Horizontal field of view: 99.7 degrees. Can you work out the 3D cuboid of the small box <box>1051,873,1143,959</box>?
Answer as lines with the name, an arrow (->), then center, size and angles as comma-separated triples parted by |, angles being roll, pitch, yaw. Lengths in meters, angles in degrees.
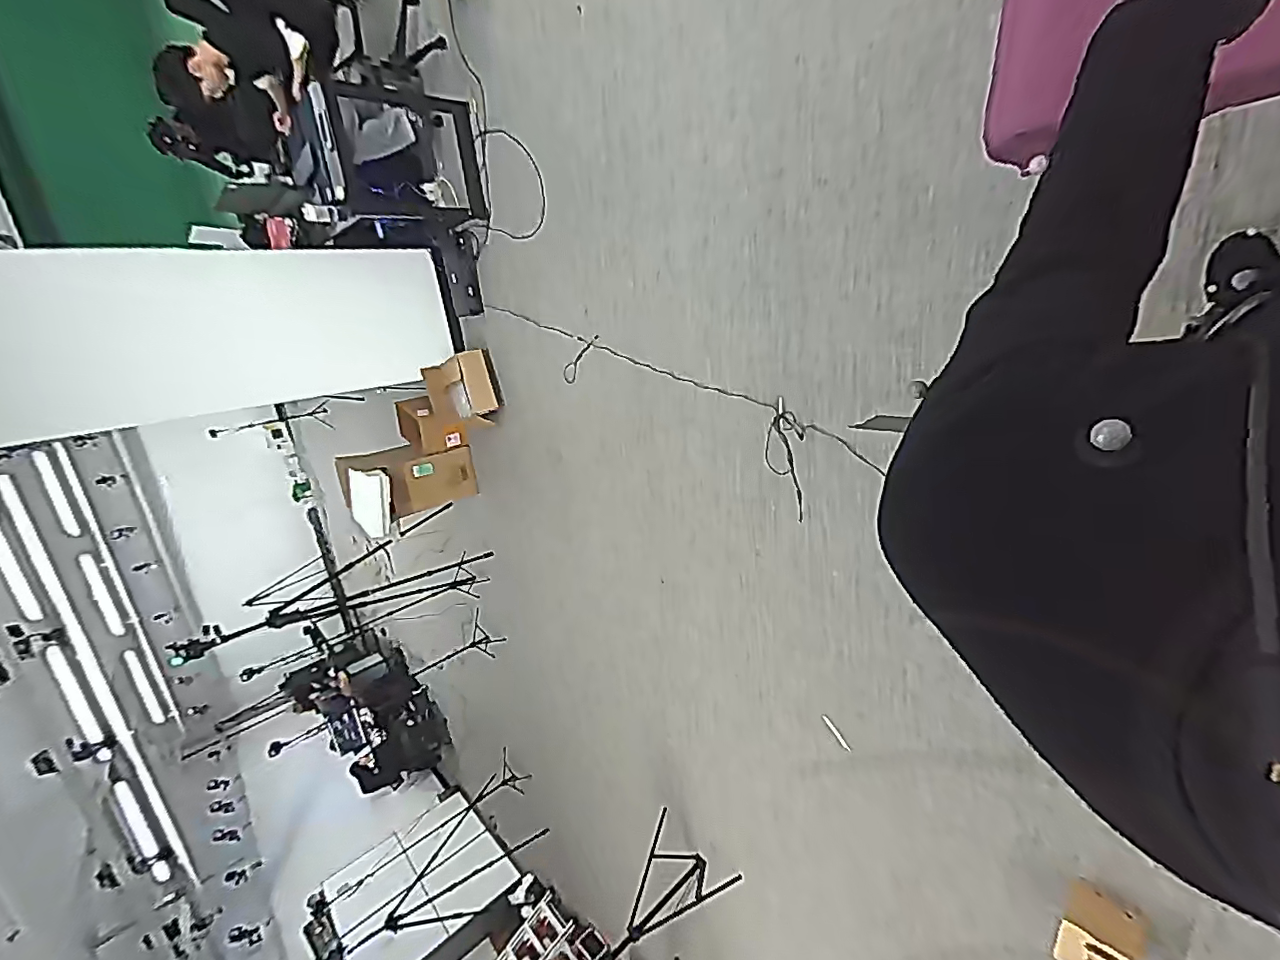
small box -> 1.339, 1.313, 1.581 | 0.168, 0.176, 0.179 | 17, 120, 46
